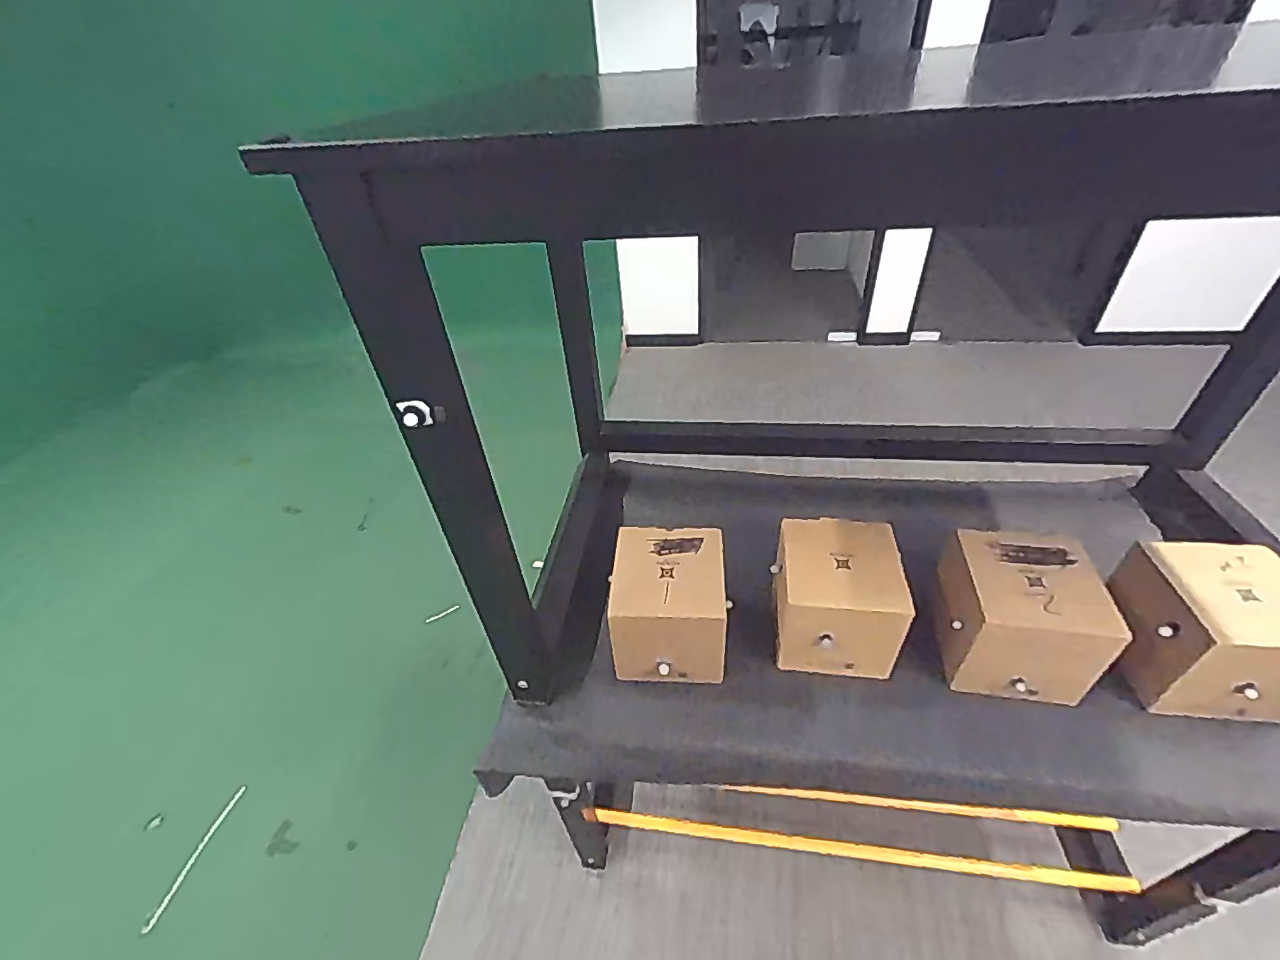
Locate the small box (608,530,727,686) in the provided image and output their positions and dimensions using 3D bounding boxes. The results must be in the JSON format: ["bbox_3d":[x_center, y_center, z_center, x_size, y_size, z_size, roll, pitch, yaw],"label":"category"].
[{"bbox_3d":[0.047,0.199,0.854,0.168,0.176,0.179,-1,40,6],"label":"small box"}]

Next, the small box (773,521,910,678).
[{"bbox_3d":[0.301,0.186,0.845,0.168,0.176,0.179,2,39,9],"label":"small box"}]

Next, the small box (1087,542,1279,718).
[{"bbox_3d":[0.785,0.208,0.755,0.168,0.176,0.179,2,38,8],"label":"small box"}]
